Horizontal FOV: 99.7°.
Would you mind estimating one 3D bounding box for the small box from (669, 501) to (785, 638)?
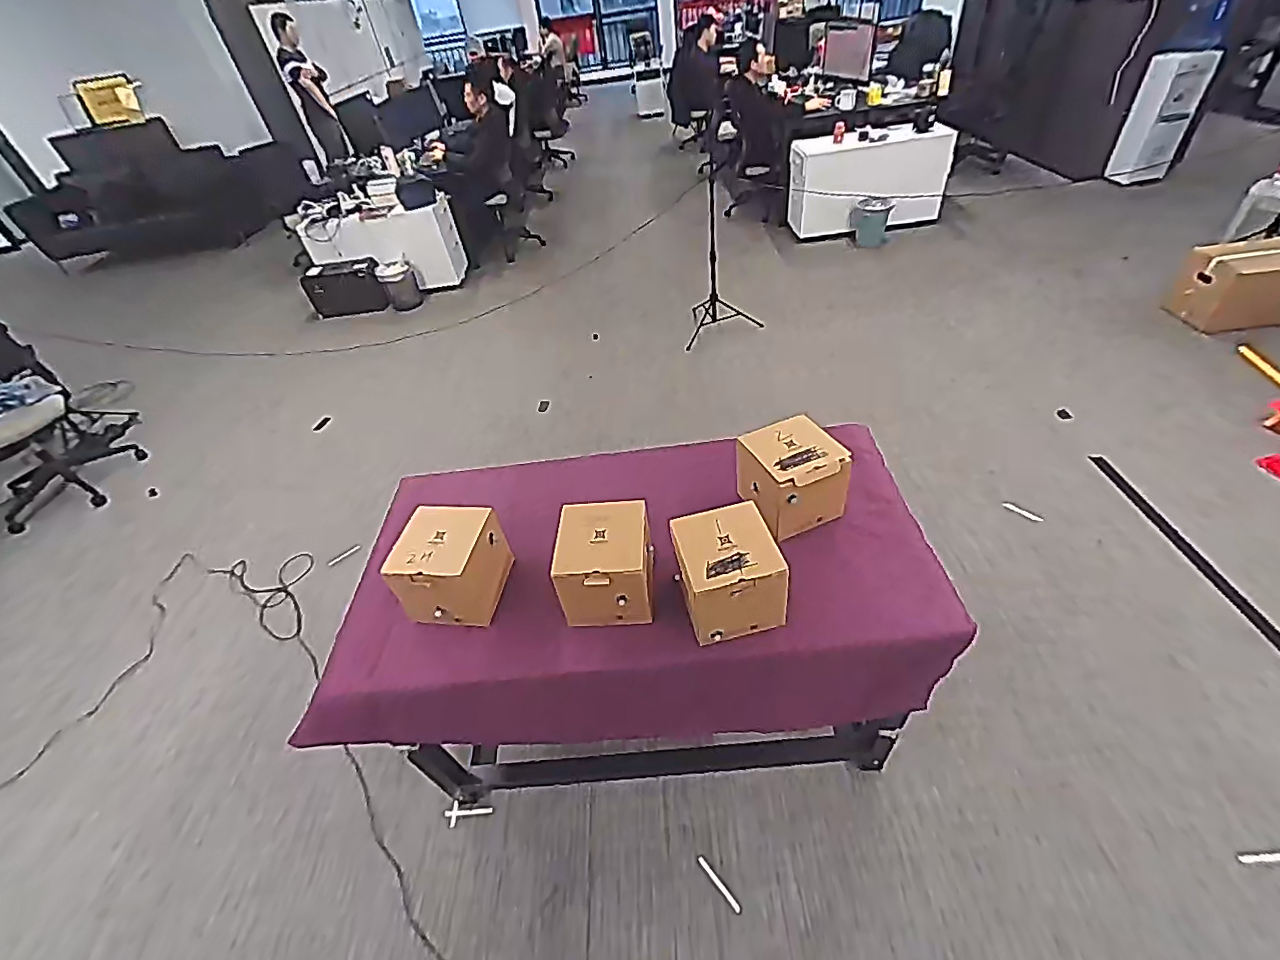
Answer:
[{"bbox_3d":[0.160,0.172,1.004,0.168,0.176,0.179,-13,42,-4],"label":"small box"}]

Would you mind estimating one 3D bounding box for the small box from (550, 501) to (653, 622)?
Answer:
[{"bbox_3d":[-0.065,0.164,1.055,0.168,0.176,0.179,-3,43,6],"label":"small box"}]

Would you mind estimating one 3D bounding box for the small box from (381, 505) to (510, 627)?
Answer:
[{"bbox_3d":[-0.379,0.172,1.097,0.168,0.176,0.179,1,44,11],"label":"small box"}]
